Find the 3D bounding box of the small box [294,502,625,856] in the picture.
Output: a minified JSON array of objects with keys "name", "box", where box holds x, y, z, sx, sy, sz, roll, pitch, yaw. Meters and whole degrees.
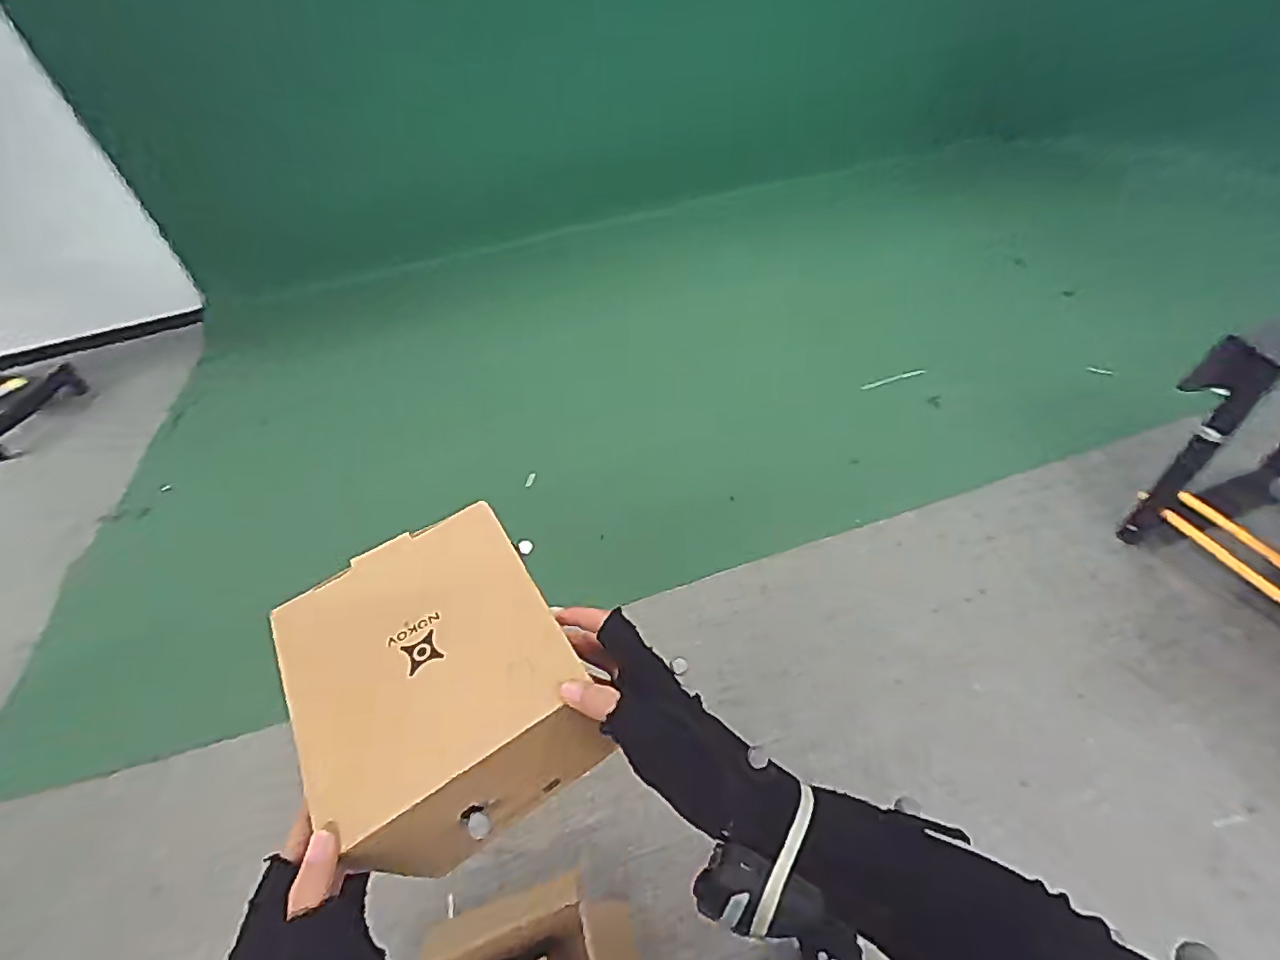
[{"name":"small box","box":[-0.126,0.157,0.424,0.168,0.176,0.179,-30,55,-17]}]
